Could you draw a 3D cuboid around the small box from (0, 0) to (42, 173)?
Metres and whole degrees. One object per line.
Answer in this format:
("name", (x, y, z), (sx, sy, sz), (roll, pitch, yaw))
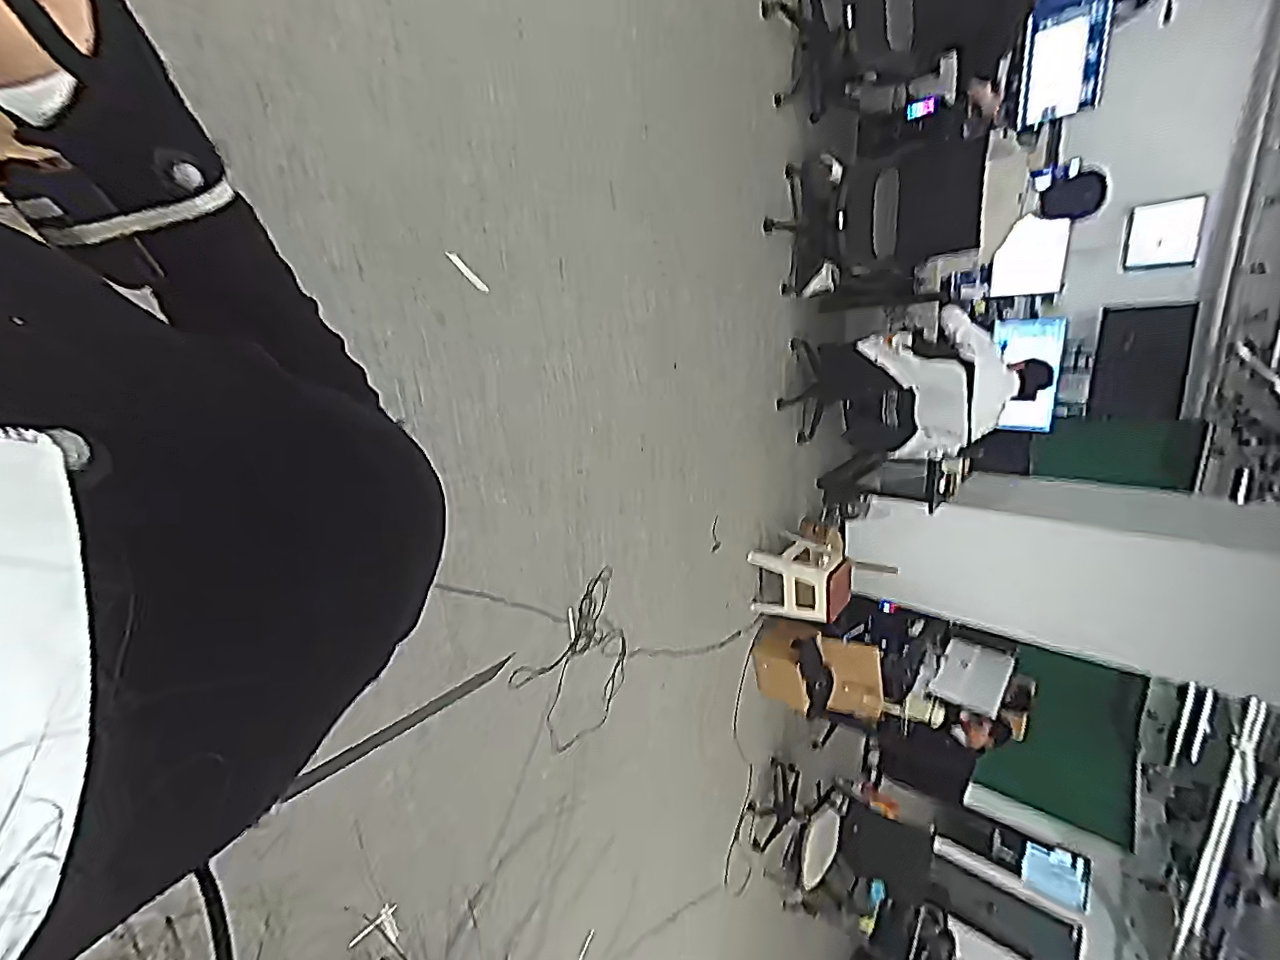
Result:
("small box", (-0.762, -0.427, 0.546), (0.179, 0.176, 0.168), (-19, 113, -47))

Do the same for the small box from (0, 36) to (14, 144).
("small box", (-0.647, -0.397, 0.431), (0.168, 0.176, 0.179), (-14, 110, -49))
